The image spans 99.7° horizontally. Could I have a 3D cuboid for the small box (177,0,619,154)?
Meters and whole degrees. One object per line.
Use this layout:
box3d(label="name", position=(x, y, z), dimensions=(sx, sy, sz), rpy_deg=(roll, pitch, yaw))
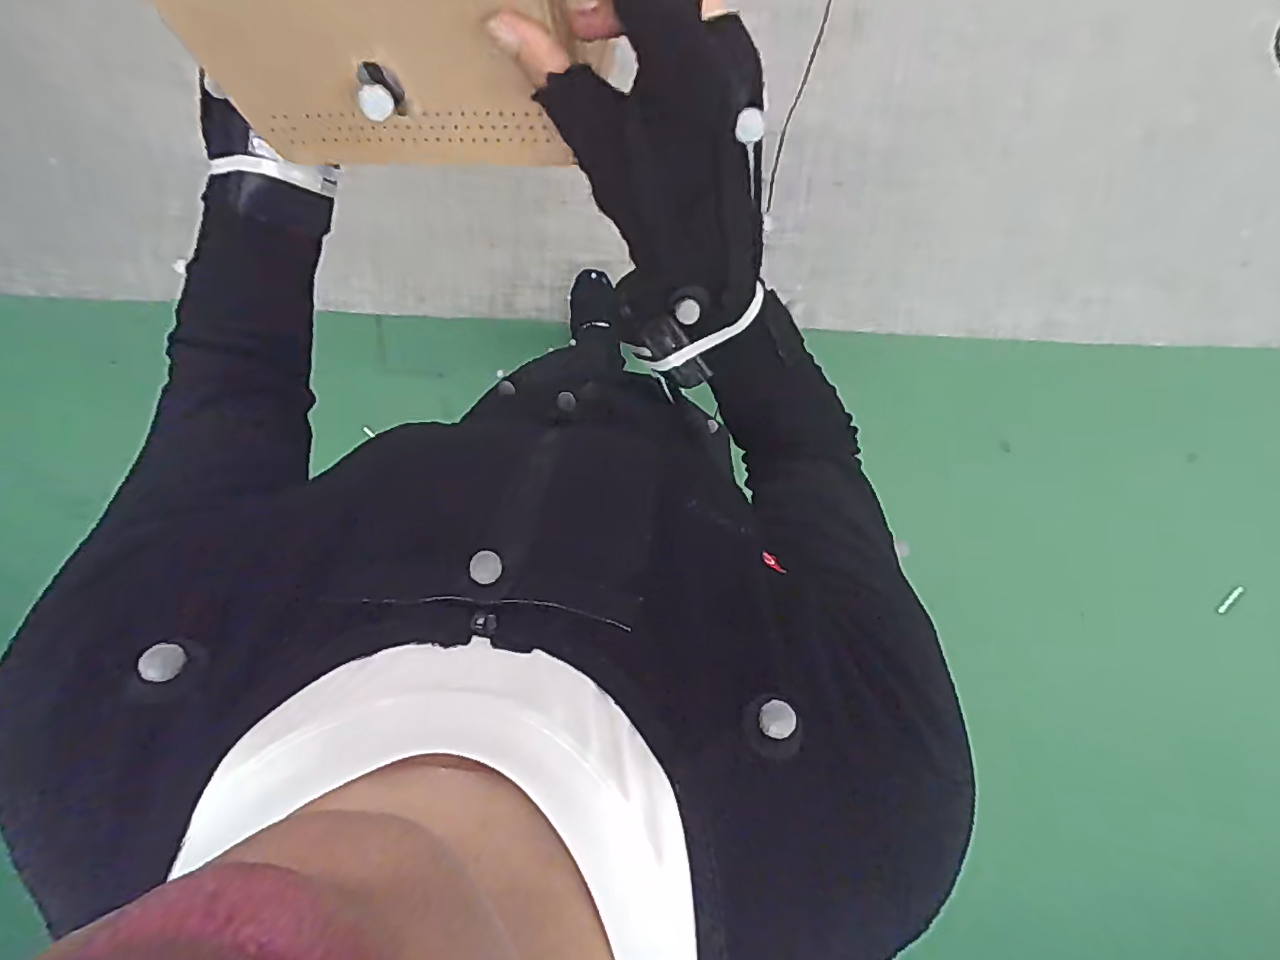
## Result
box3d(label="small box", position=(-0.108, -0.277, 0.240), dimensions=(0.179, 0.176, 0.168), rpy_deg=(7, 71, 10))
